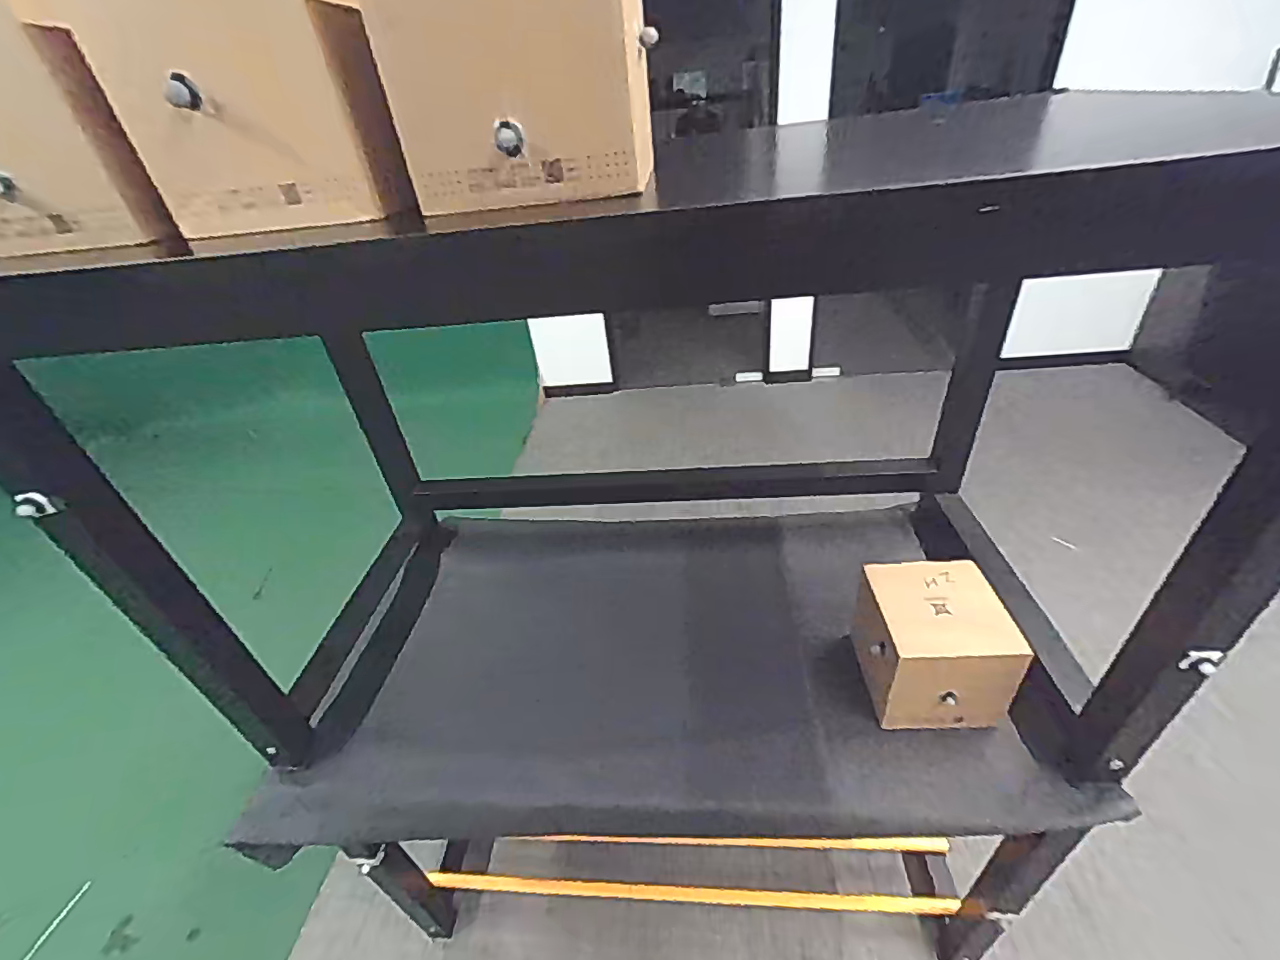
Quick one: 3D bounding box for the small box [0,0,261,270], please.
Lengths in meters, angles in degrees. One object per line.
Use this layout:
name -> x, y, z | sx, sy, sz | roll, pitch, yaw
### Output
small box -> -0.477, -0.291, 0.468 | 0.168, 0.176, 0.179 | -3, 36, 6

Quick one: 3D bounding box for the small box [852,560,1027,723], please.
small box -> 0.430, 0.244, 0.811 | 0.168, 0.176, 0.179 | -4, 34, 6
